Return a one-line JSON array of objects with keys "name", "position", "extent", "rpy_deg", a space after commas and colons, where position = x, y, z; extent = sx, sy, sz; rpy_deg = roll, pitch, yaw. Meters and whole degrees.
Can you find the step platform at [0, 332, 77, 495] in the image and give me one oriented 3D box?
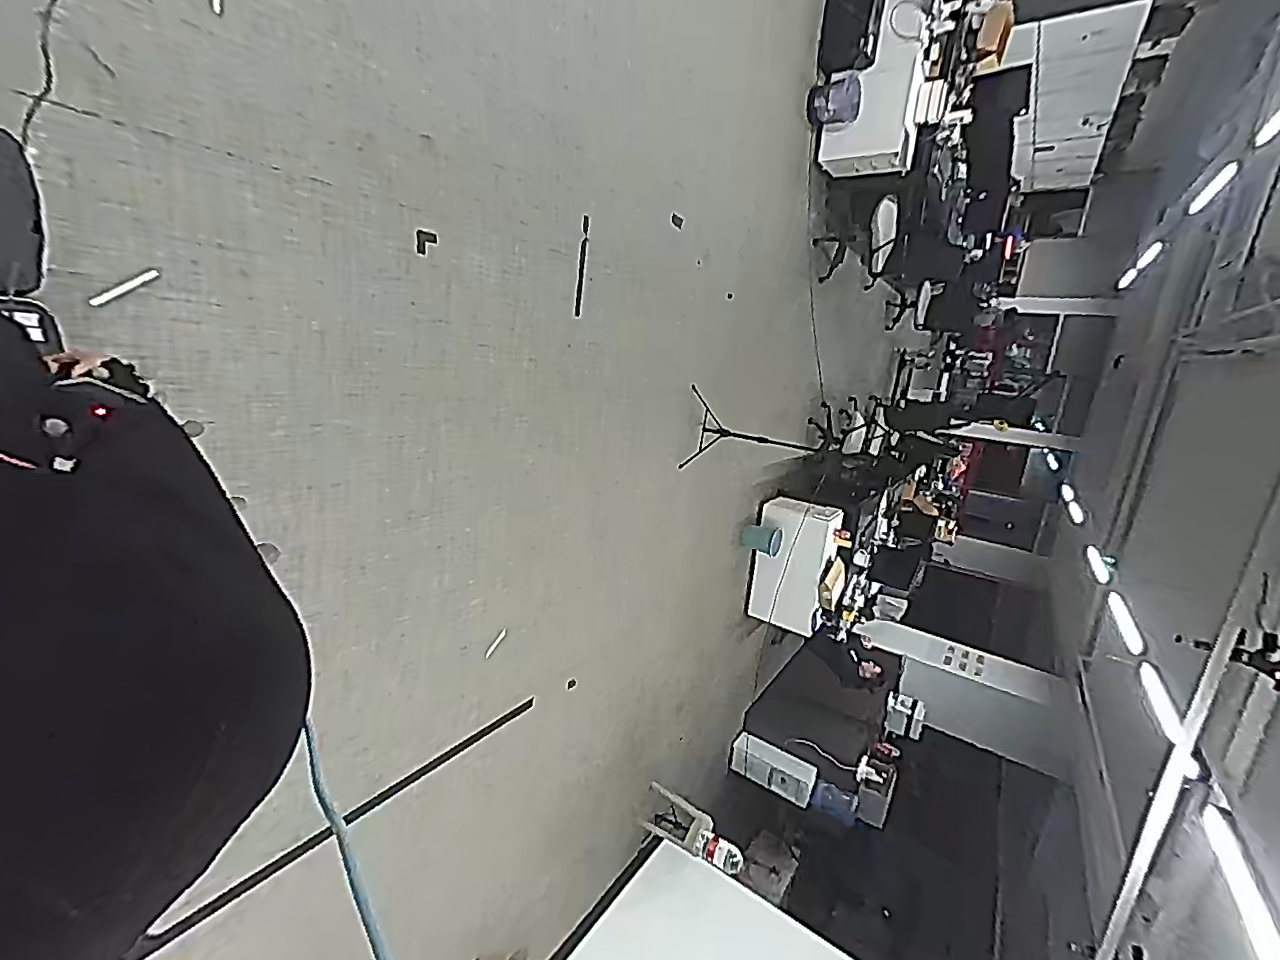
[{"name": "step platform", "position": [-1.298, -0.113, 0.774], "extent": [0.684, 0.204, 0.286], "rpy_deg": [-4, 103, -54]}]
